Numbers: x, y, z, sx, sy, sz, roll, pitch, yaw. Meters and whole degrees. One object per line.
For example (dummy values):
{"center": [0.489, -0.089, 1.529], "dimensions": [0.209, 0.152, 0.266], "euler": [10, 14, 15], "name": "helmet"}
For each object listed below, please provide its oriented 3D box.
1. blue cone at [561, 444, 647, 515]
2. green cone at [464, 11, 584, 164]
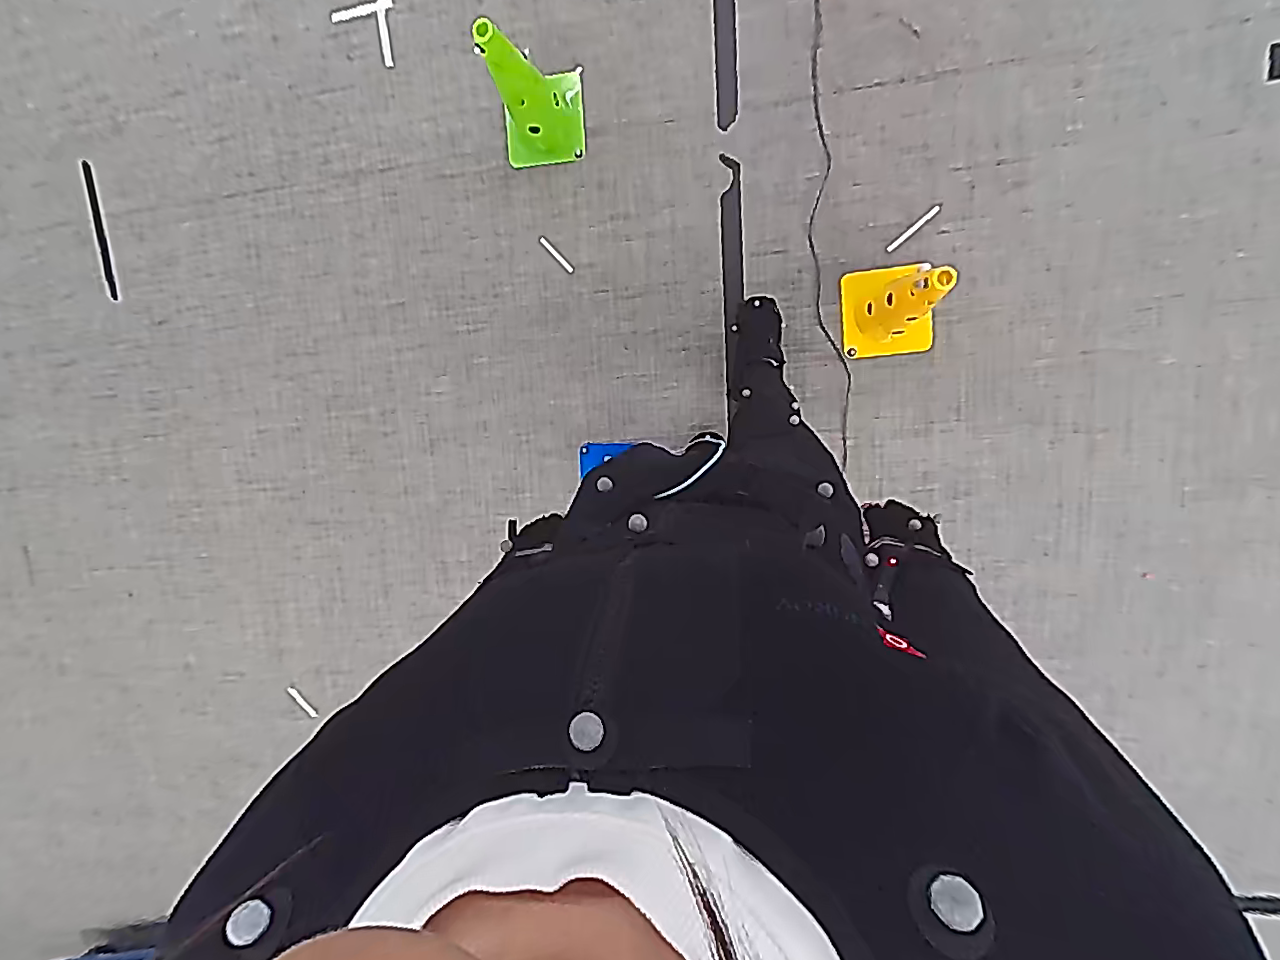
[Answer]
{"center": [-0.103, 0.022, 1.287], "dimensions": [0.192, 0.380, 0.193], "euler": [2, 98, 10], "name": "blue cone"}
{"center": [-0.270, -0.874, 1.167], "dimensions": [0.202, 0.368, 0.200], "euler": [-2, 98, 11], "name": "green cone"}
